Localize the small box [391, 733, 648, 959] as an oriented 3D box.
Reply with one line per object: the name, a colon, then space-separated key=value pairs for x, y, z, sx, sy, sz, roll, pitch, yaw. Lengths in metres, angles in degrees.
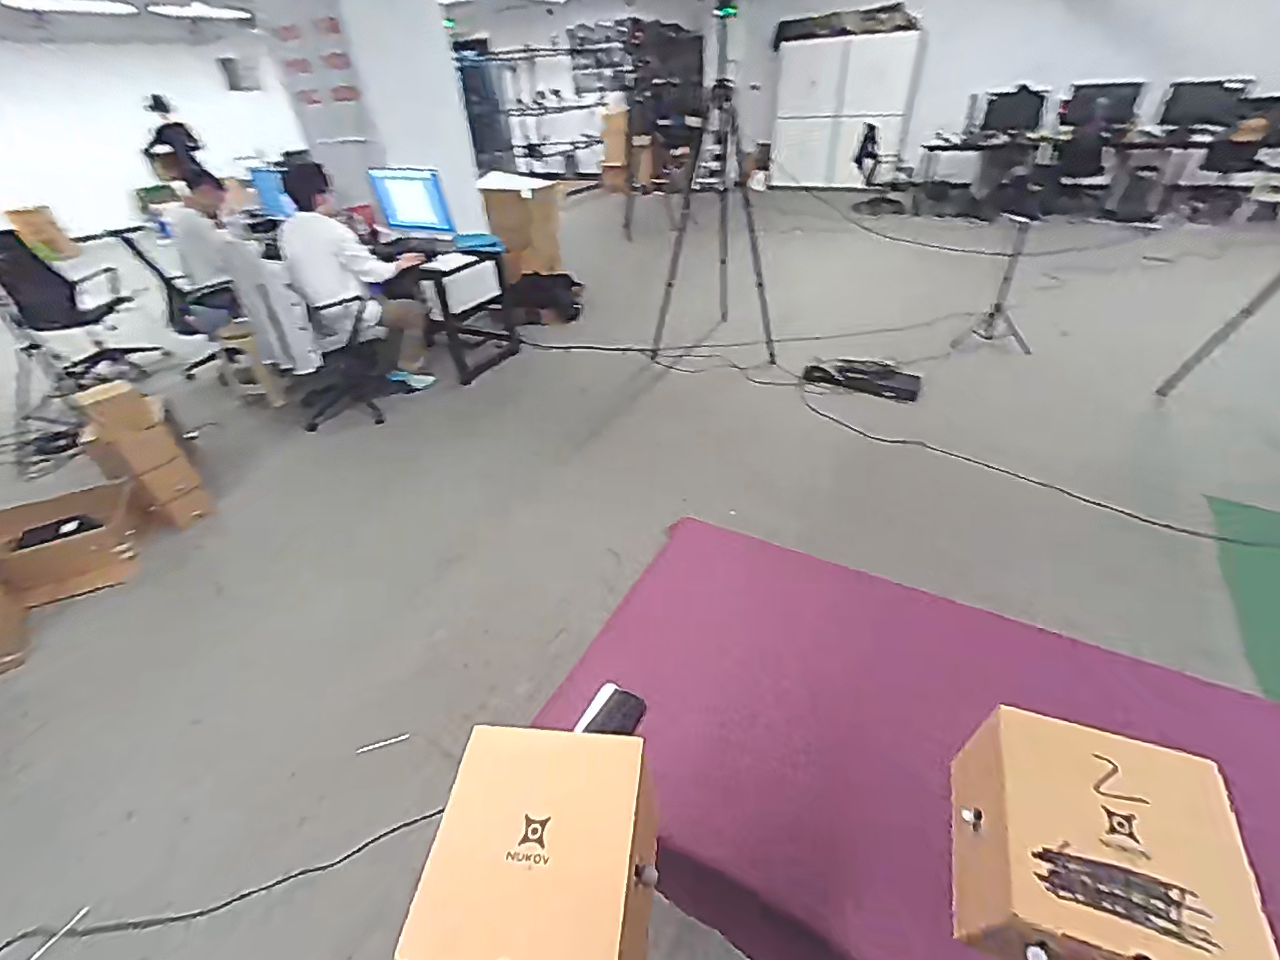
small box: x=-0.086 y=0.360 z=0.493 sx=0.168 sy=0.176 sz=0.179 roll=0 pitch=42 yaw=8
